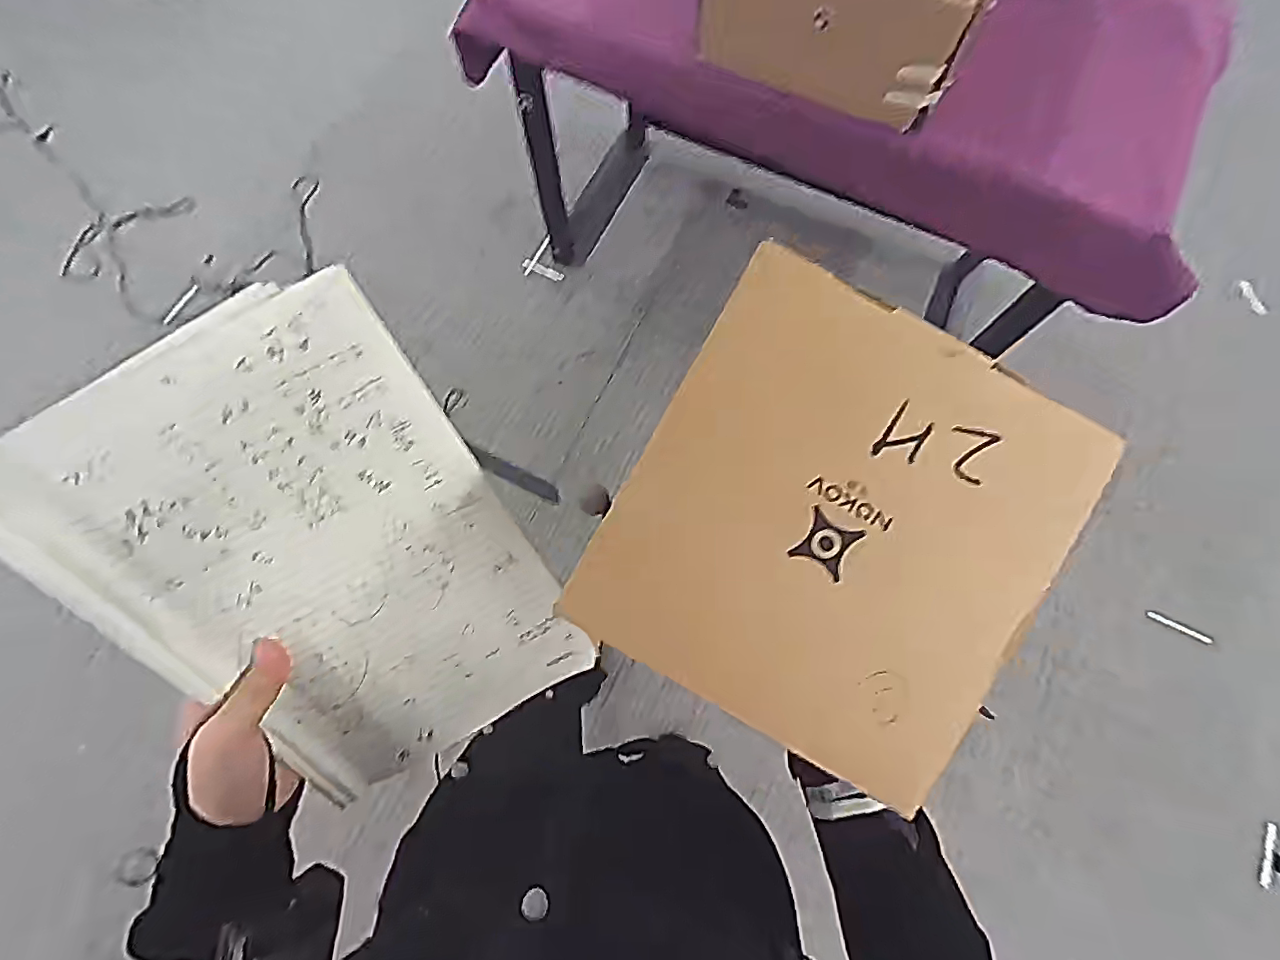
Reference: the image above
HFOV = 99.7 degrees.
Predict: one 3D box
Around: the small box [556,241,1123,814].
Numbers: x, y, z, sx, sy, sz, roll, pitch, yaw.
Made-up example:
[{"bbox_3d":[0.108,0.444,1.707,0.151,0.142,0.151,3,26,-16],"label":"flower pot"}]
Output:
[{"bbox_3d":[0.080,0.019,0.293,0.168,0.176,0.179,30,90,1],"label":"small box"}]
